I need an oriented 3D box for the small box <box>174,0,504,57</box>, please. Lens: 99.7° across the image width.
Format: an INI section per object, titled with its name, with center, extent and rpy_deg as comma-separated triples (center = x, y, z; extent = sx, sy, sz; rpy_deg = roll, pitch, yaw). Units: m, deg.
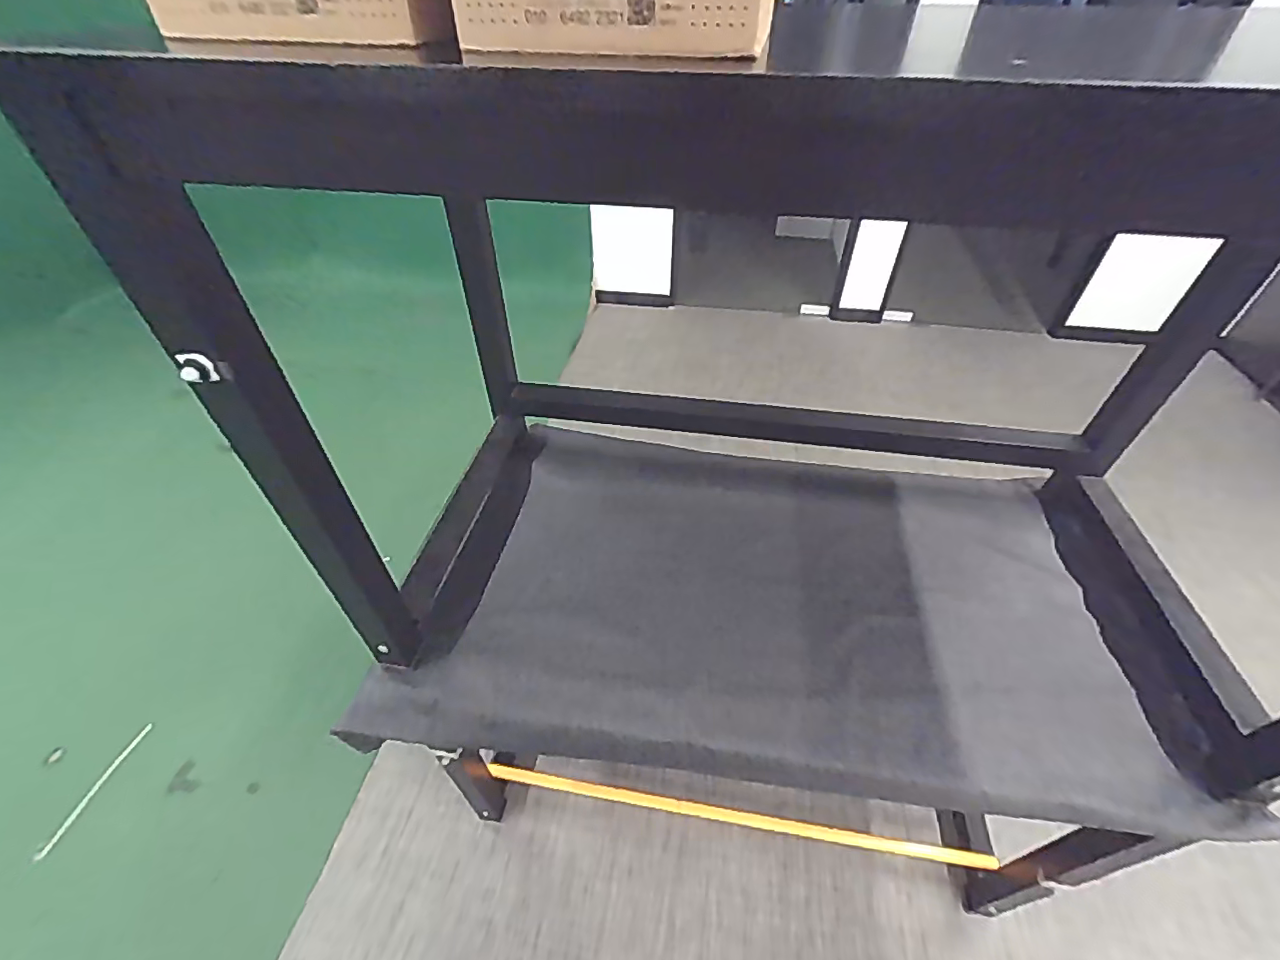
[small box]
center = -0.196, -0.376, 0.333
extent = 0.168, 0.176, 0.179
rpy_deg = 8, 44, 6
